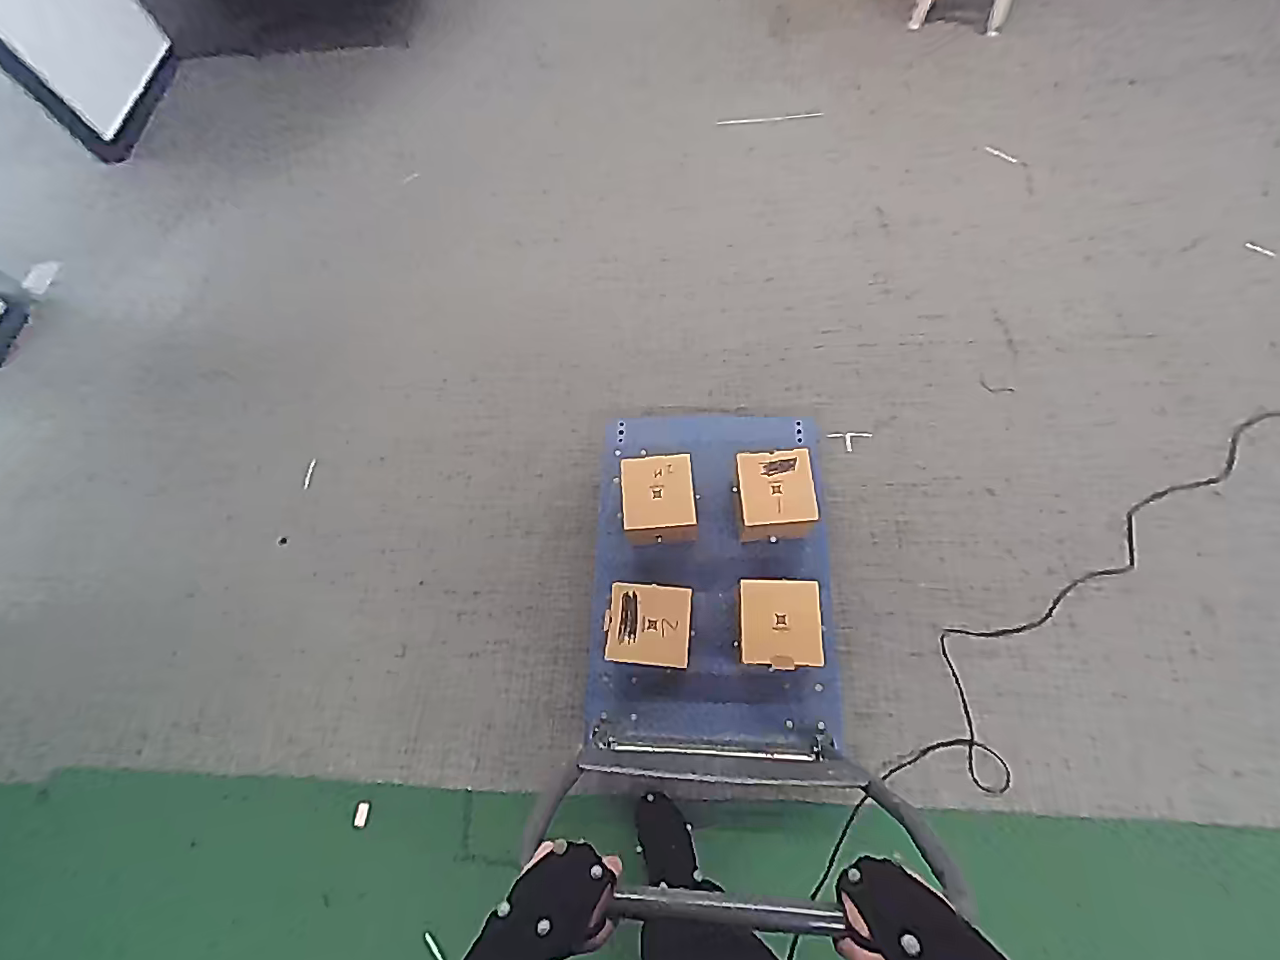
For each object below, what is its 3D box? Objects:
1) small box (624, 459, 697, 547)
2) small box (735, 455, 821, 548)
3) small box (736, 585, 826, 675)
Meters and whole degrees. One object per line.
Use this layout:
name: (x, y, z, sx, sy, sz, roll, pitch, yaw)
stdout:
small box: (0.051, 0.064, 1.317, 0.168, 0.176, 0.179, -4, 70, 3)
small box: (0.322, 0.055, 1.296, 0.168, 0.176, 0.179, -4, 70, 4)
small box: (0.303, 0.336, 1.197, 0.168, 0.176, 0.179, 0, 70, 6)
